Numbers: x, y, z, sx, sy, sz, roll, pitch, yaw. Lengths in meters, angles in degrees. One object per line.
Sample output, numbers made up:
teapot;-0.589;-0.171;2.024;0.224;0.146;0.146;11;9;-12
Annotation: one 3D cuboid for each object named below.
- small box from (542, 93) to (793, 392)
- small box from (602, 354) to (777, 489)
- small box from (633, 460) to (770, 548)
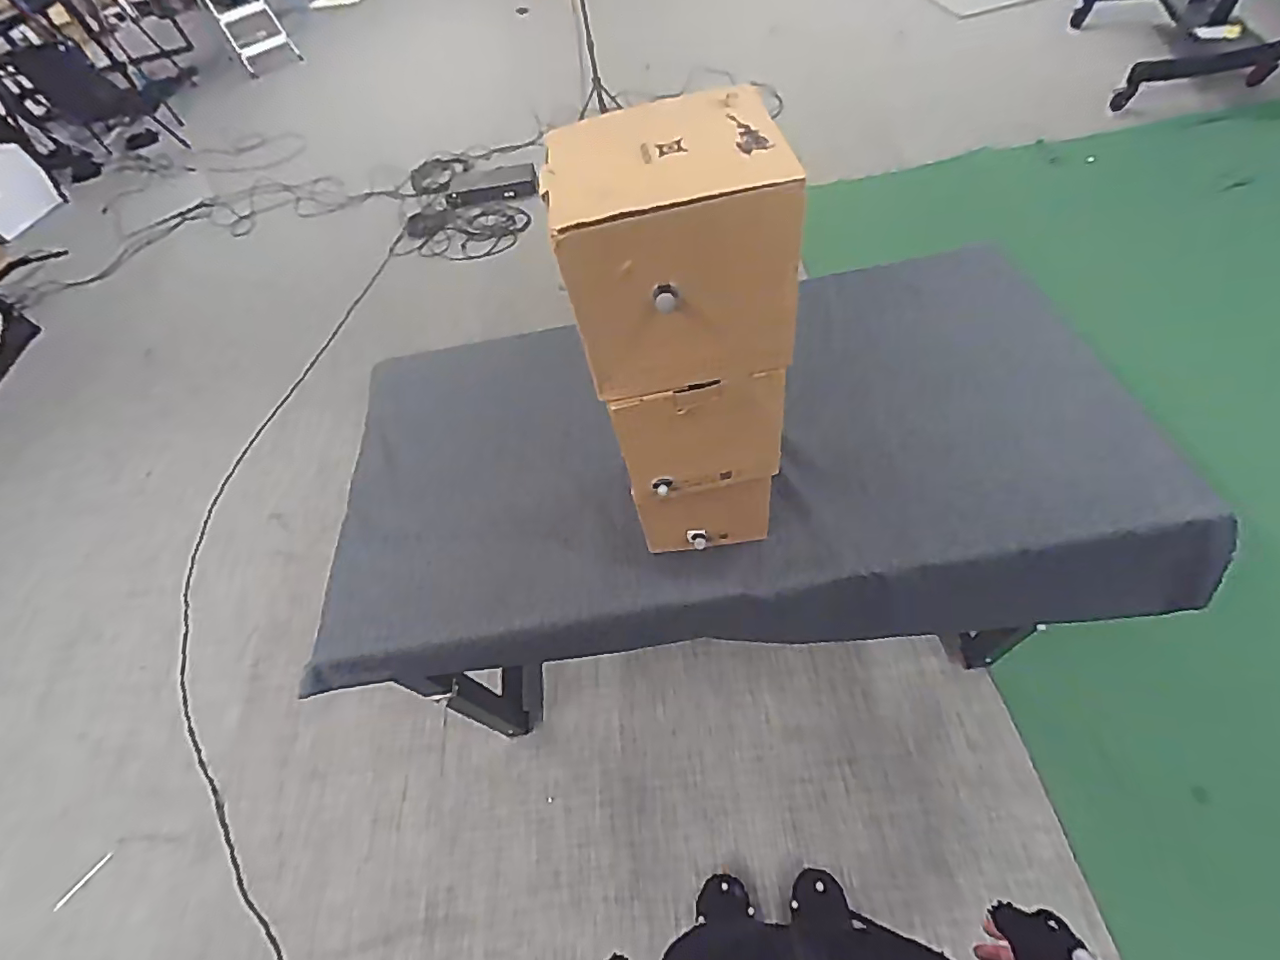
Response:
small box;0.024;-0.201;0.480;0.179;0.176;0.168;-13;53;2
small box;0.048;-0.108;0.610;0.168;0.176;0.179;-16;55;2
small box;0.078;-0.028;0.750;0.168;0.176;0.179;-10;56;5
